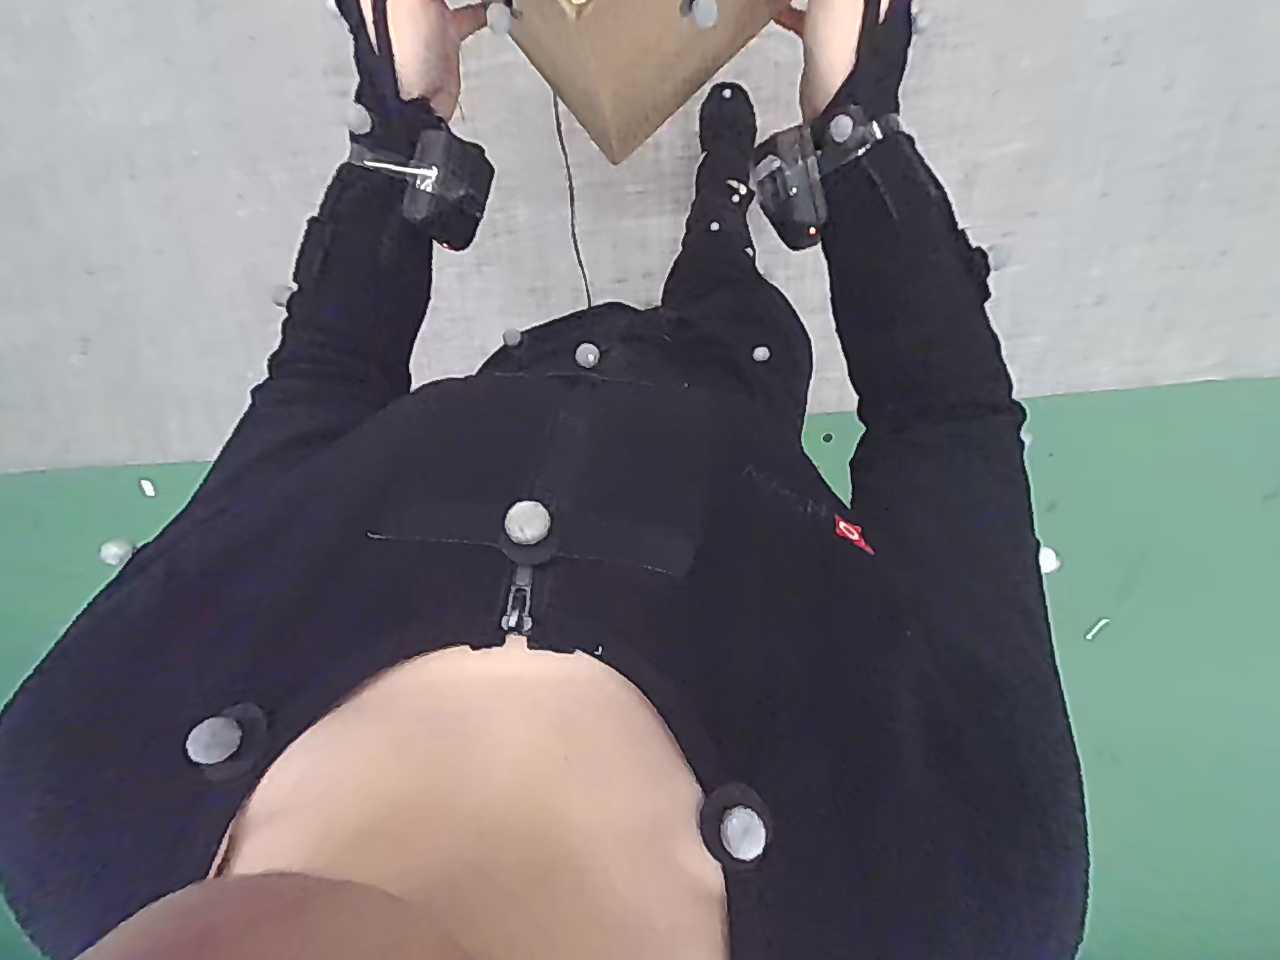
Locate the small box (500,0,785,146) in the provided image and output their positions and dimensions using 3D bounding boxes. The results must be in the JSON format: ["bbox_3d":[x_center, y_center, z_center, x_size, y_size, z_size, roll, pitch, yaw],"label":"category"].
[{"bbox_3d":[-0.007,-0.338,0.302,0.179,0.176,0.168,-40,95,10],"label":"small box"}]
